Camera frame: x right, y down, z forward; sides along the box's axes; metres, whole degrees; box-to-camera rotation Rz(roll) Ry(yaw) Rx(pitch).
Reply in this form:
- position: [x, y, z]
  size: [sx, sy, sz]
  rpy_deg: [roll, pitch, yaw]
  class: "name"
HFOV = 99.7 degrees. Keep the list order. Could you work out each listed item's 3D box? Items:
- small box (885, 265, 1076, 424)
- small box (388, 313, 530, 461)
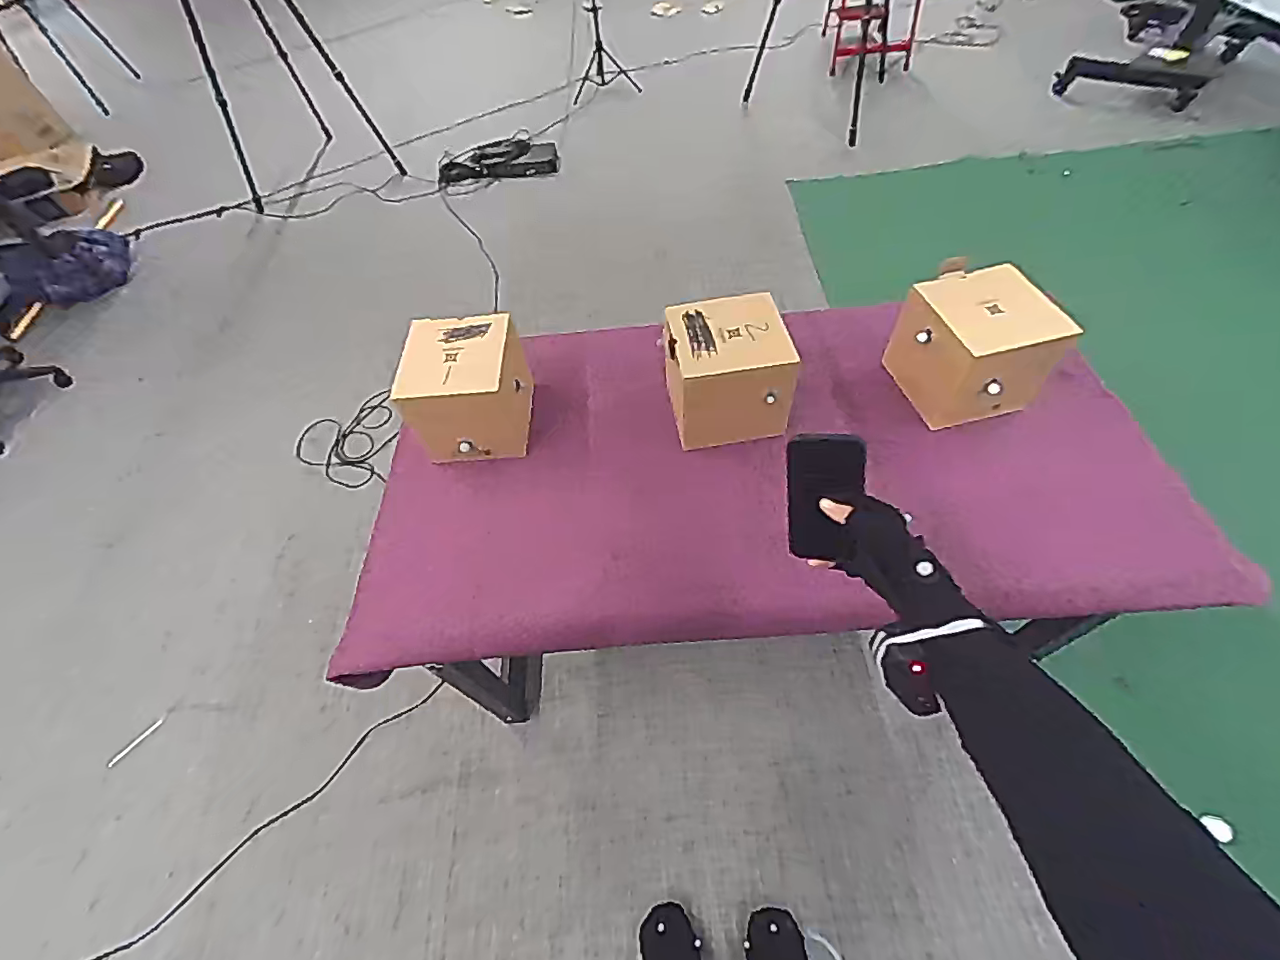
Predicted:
- position: [0.526, -0.208, 0.868]
  size: [0.168, 0.176, 0.179]
  rpy_deg: [-13, 55, -3]
  class: "small box"
- position: [-0.285, -0.152, 0.901]
  size: [0.168, 0.176, 0.179]
  rpy_deg: [-4, 57, 3]
  class: "small box"
